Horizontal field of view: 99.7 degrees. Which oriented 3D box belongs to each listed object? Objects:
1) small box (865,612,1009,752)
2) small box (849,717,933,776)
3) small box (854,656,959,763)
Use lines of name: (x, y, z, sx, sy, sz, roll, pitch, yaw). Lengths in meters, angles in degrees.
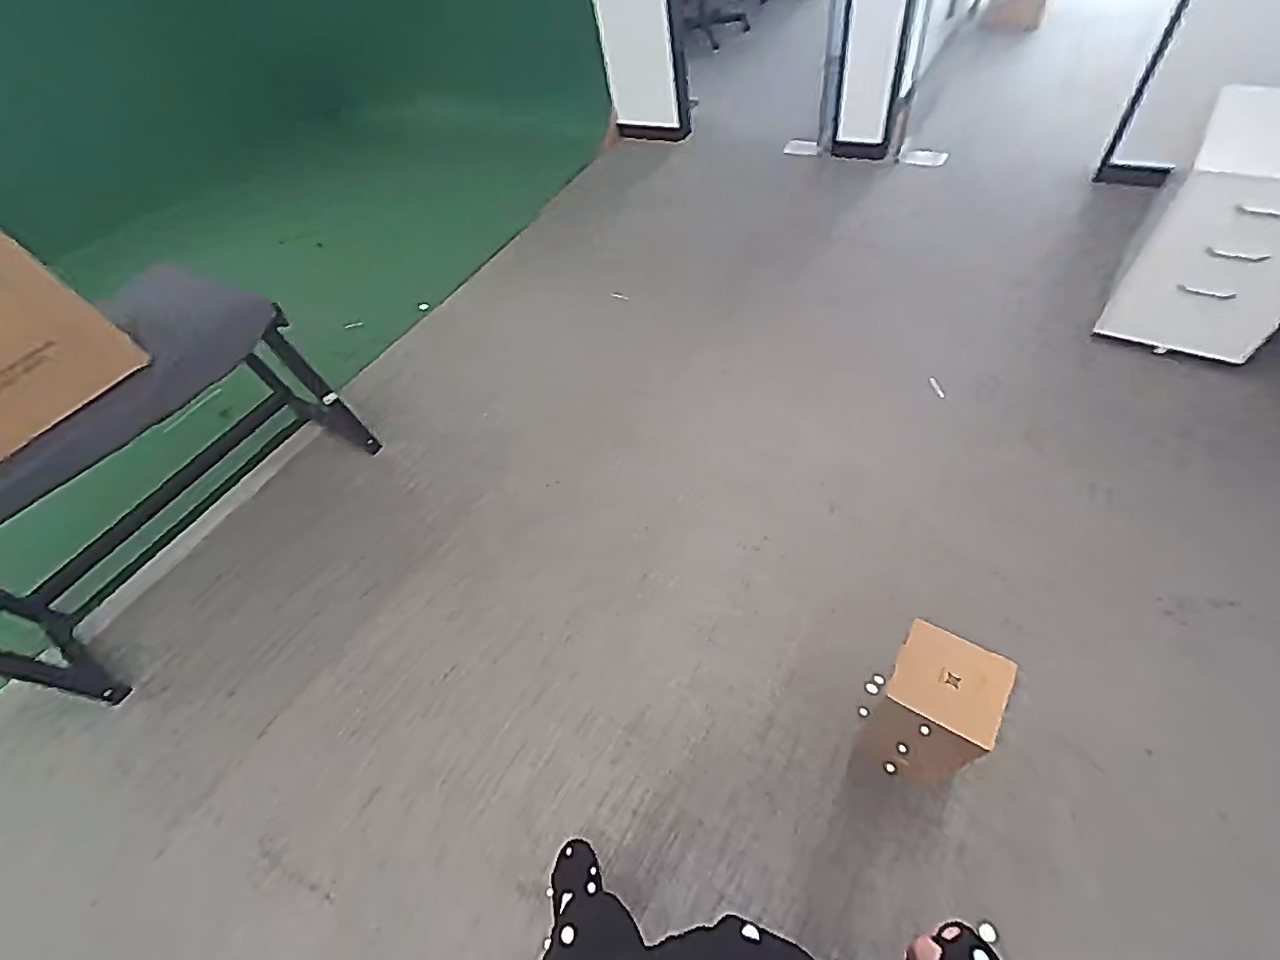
small box: (0.546, 0.385, 1.018, 0.179, 0.176, 0.168, 25, 64, 24)
small box: (0.610, 0.571, 1.279, 0.168, 0.176, 0.179, 25, 64, 25)
small box: (0.578, 0.476, 1.148, 0.179, 0.176, 0.168, 24, 62, 25)
